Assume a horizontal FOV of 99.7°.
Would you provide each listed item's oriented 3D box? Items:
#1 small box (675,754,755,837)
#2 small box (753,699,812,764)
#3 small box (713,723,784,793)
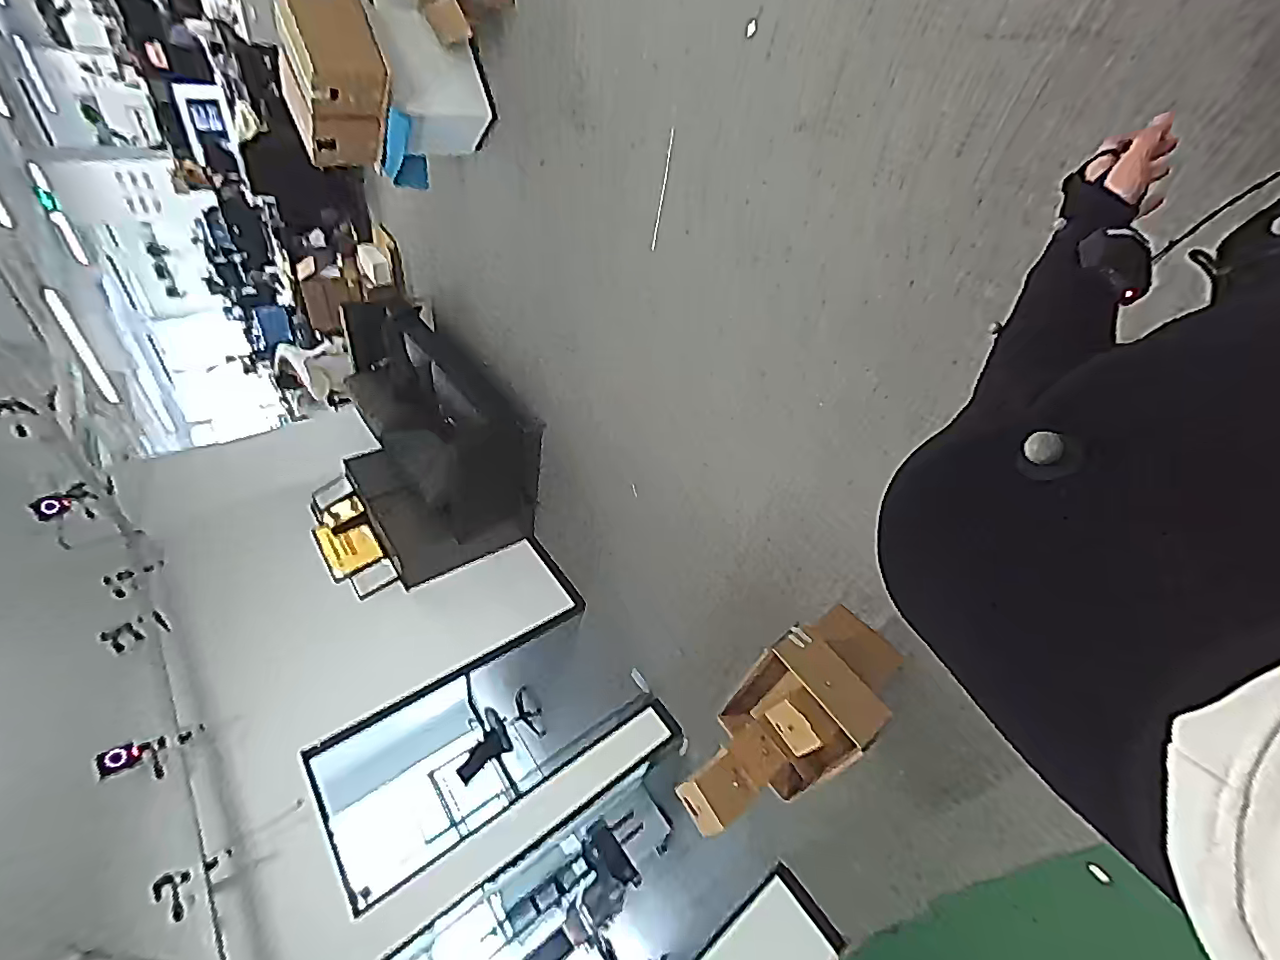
[{"bbox_3d":[0.251,1.051,1.802,0.168,0.176,0.179,53,142,21],"label":"small box"},{"bbox_3d":[0.499,0.945,1.986,0.168,0.176,0.179,46,140,28],"label":"small box"},{"bbox_3d":[0.375,0.994,1.894,0.168,0.176,0.179,46,140,29],"label":"small box"}]
